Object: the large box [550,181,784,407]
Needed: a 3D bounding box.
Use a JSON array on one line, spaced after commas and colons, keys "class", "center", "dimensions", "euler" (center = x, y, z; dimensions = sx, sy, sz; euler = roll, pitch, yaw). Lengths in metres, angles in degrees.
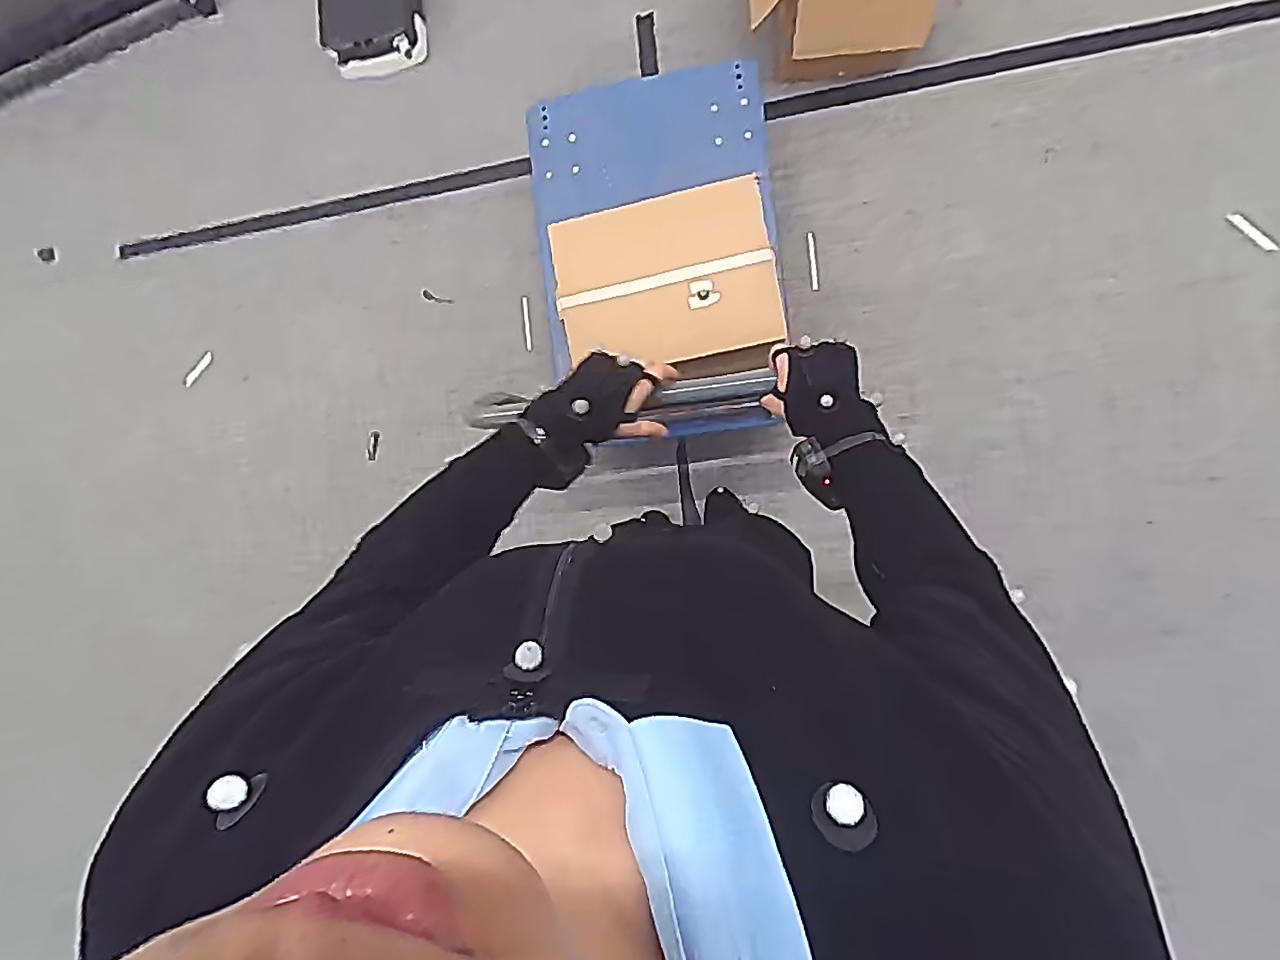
[{"class": "large box", "center": [0.061, -0.366, 1.168], "dimensions": [0.408, 0.320, 0.320], "euler": [-11, 89, 6]}]
